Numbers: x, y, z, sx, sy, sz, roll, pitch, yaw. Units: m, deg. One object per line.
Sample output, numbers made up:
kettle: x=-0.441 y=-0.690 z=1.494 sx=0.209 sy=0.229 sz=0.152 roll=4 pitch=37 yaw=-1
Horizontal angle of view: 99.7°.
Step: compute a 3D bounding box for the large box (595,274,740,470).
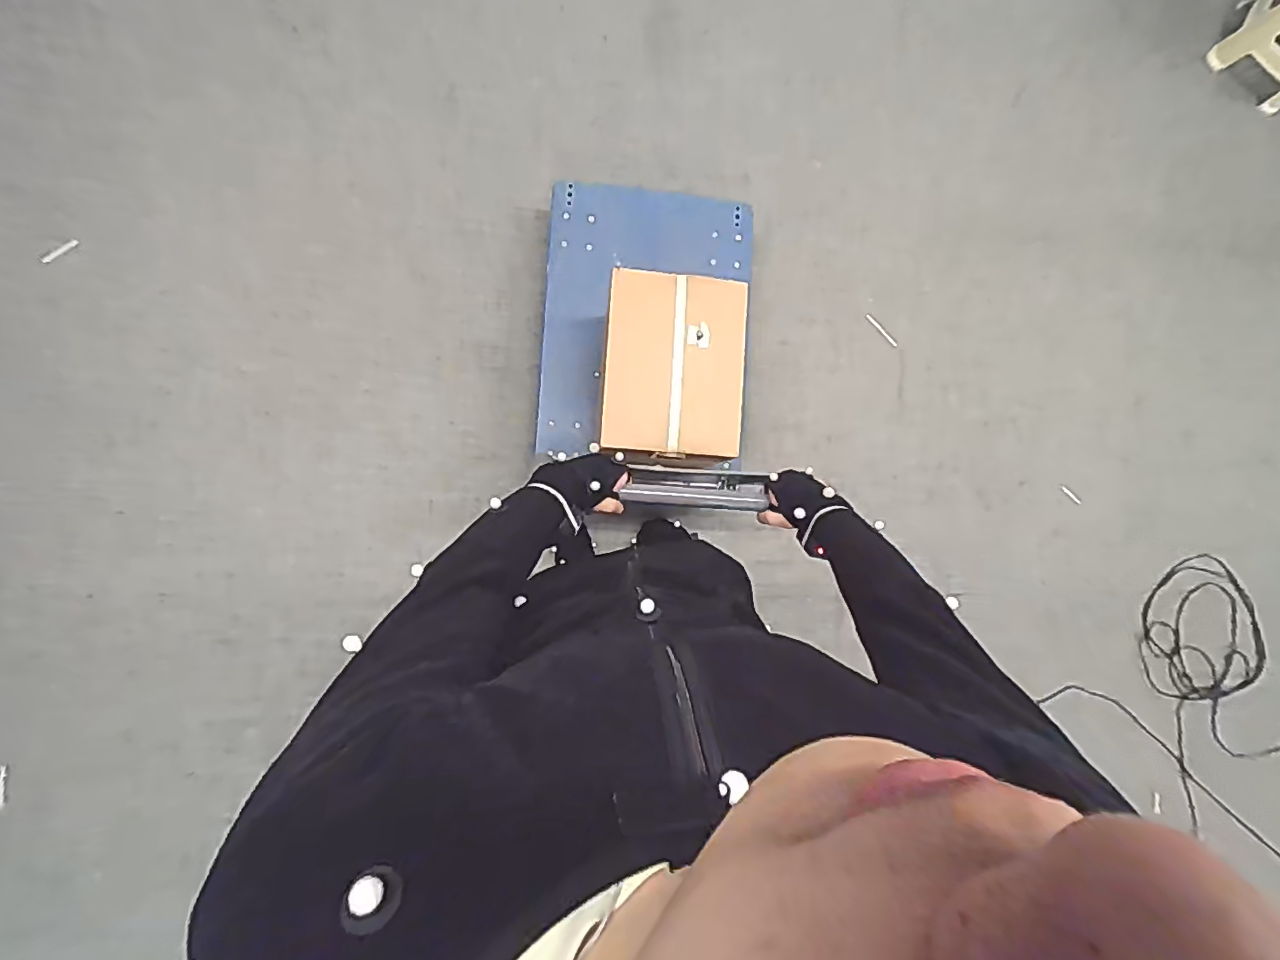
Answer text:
large box: x=0.052 y=-0.240 z=1.349 sx=0.320 sy=0.320 sz=0.408 roll=4 pitch=85 yaw=-8
